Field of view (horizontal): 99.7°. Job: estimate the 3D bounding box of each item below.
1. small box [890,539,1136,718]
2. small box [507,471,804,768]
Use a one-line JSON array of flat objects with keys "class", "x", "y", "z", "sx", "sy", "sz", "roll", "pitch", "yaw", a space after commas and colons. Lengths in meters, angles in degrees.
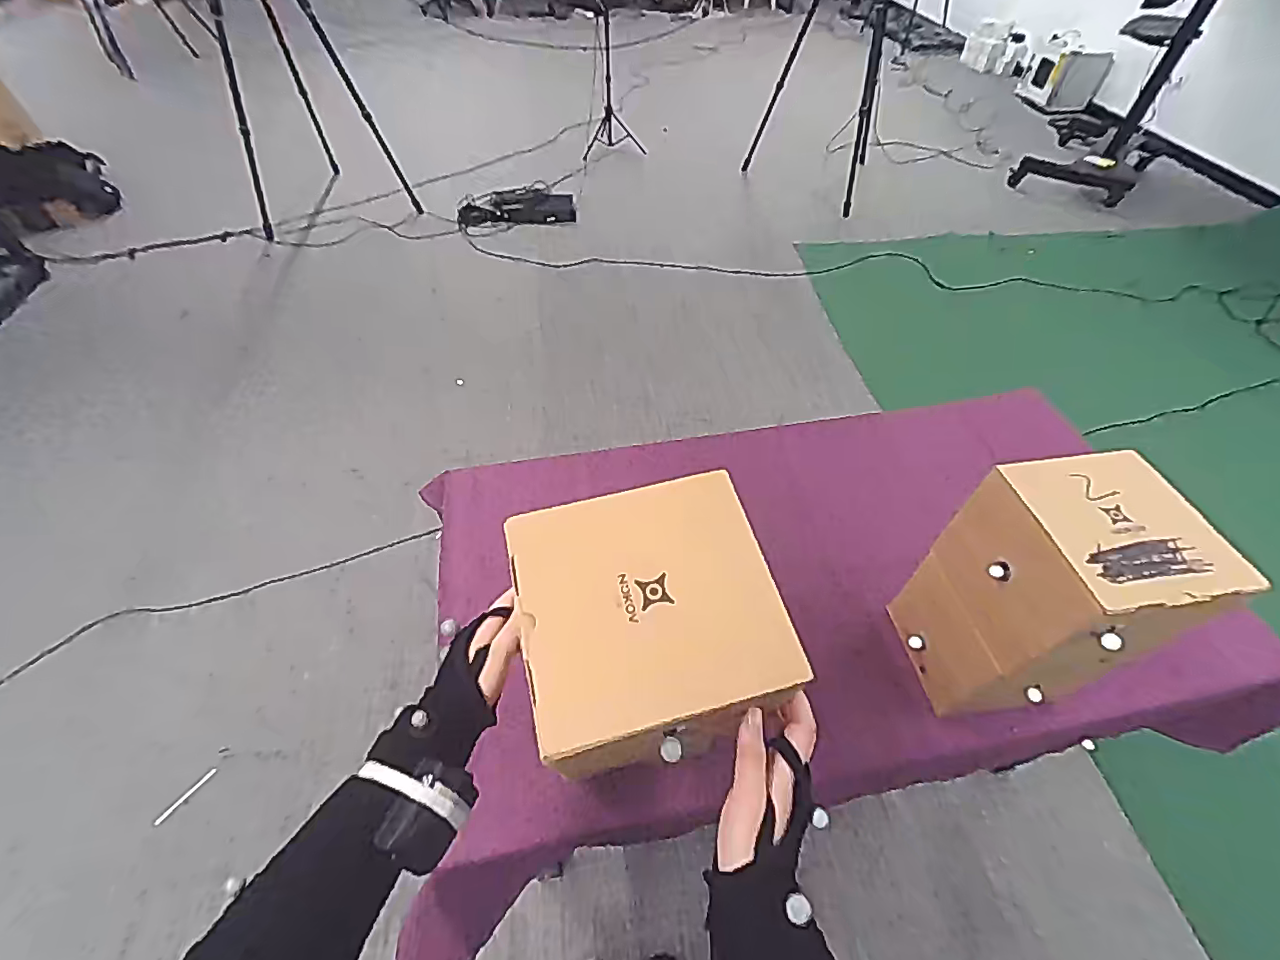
[{"class": "small box", "x": 0.470, "y": 0.199, "z": 0.717, "sx": 0.179, "sy": 0.176, "sz": 0.168, "roll": -7, "pitch": 50, "yaw": -5}, {"class": "small box", "x": 0.003, "y": 0.119, "z": 0.441, "sx": 0.179, "sy": 0.176, "sz": 0.168, "roll": -13, "pitch": 58, "yaw": -7}]
